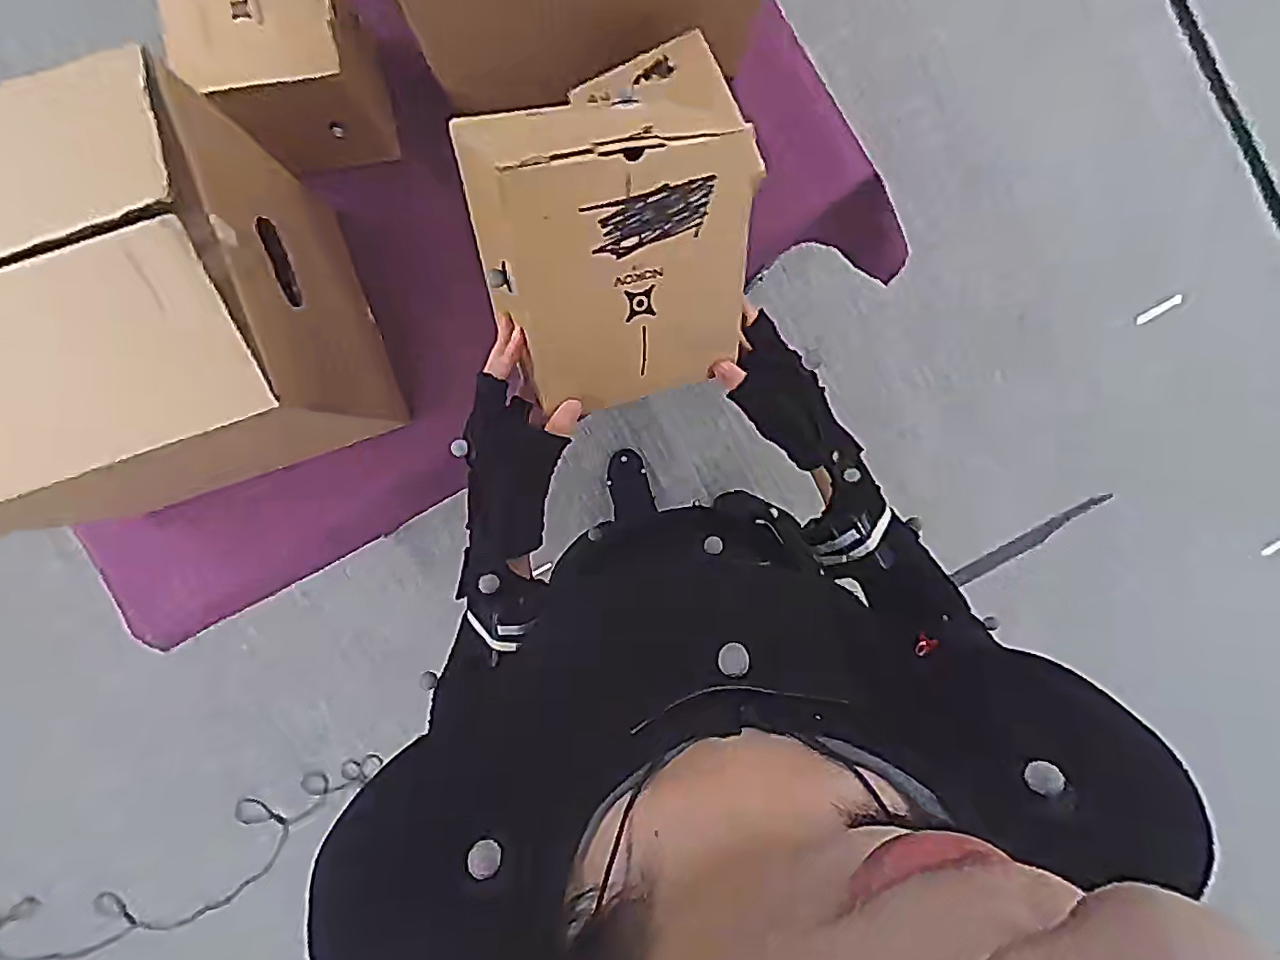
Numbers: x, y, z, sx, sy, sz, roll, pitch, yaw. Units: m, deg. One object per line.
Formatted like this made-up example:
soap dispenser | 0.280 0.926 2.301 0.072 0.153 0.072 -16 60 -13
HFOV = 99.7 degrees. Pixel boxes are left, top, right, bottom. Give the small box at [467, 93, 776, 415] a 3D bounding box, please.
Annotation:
small box | -0.022 -0.181 0.413 0.168 0.176 0.179 -17 135 -15

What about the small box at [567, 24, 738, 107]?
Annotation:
small box | 0.027 -0.390 0.673 0.168 0.176 0.179 -27 94 -1
